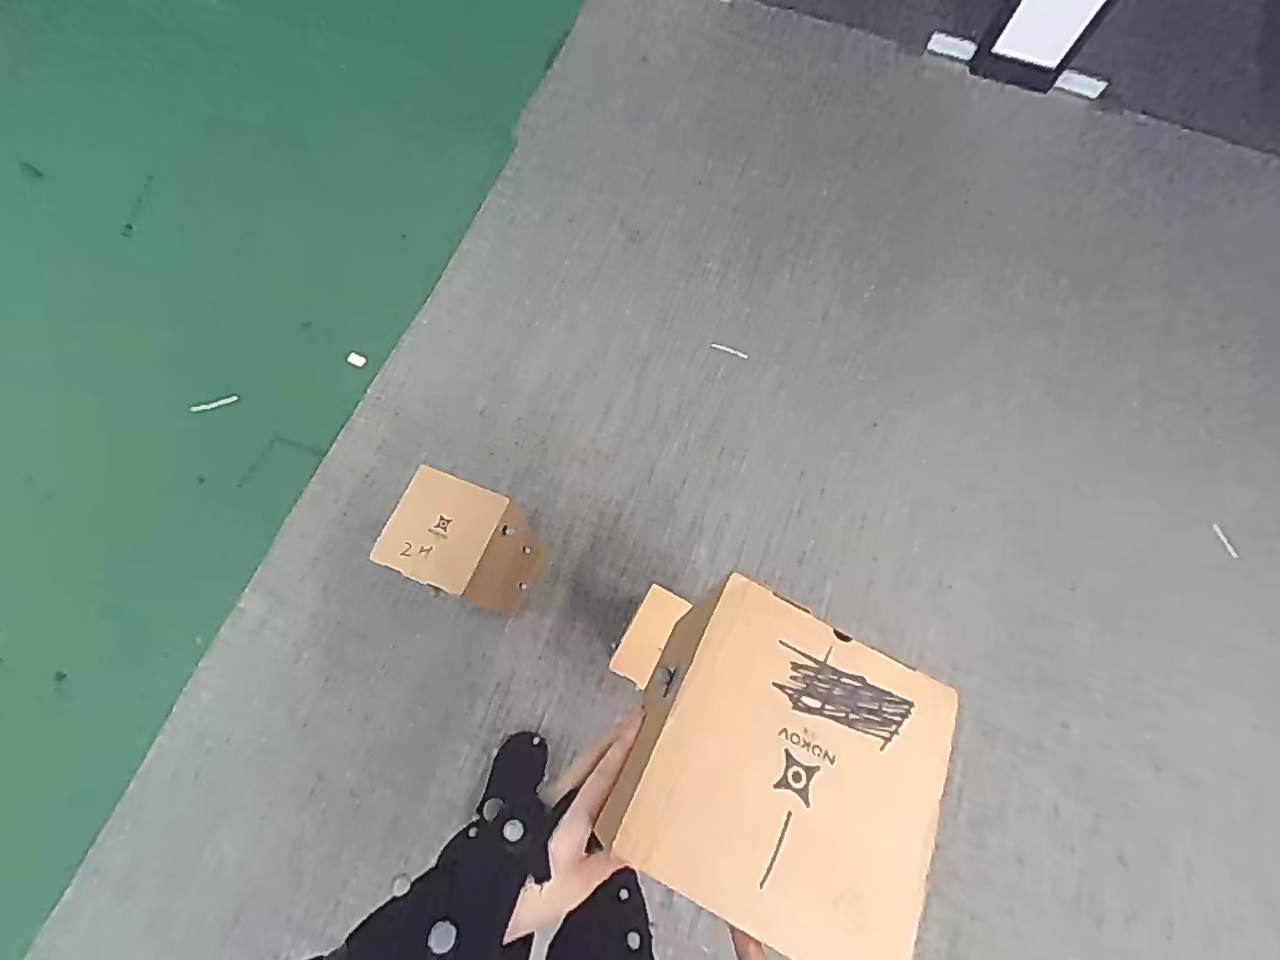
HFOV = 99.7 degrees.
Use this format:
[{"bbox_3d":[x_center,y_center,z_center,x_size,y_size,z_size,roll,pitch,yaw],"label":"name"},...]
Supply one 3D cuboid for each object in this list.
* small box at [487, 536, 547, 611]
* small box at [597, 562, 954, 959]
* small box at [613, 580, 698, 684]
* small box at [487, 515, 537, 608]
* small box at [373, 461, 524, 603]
[{"bbox_3d":[-0.329,0.192,1.250,0.168,0.176,0.179,24,74,6],"label":"small box"},{"bbox_3d":[0.080,0.192,0.384,0.168,0.176,0.179,28,63,5],"label":"small box"},{"bbox_3d":[0.058,0.318,1.053,0.168,0.176,0.179,28,74,7],"label":"small box"},{"bbox_3d":[-0.321,0.145,1.095,0.168,0.176,0.179,21,74,6],"label":"small box"},{"bbox_3d":[-0.315,0.097,0.937,0.168,0.176,0.179,21,72,6],"label":"small box"}]
